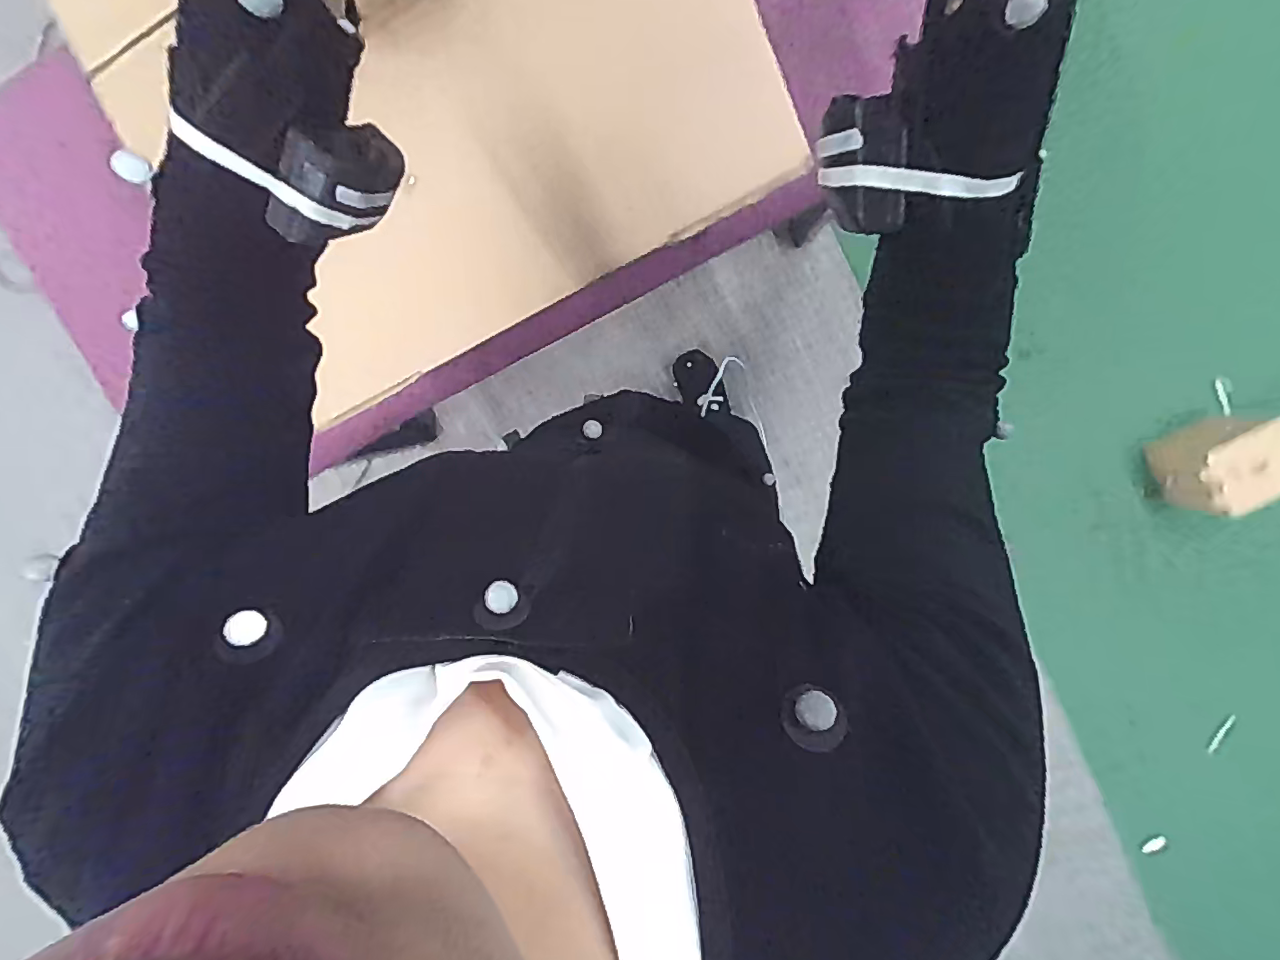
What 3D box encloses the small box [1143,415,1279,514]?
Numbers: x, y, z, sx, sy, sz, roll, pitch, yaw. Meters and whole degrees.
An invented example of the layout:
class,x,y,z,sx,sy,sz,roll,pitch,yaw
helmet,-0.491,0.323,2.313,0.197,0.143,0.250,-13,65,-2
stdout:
class,x,y,z,sx,sy,sz,roll,pitch,yaw
small box,1.370,-0.045,1.280,0.179,0.176,0.168,-29,96,8
